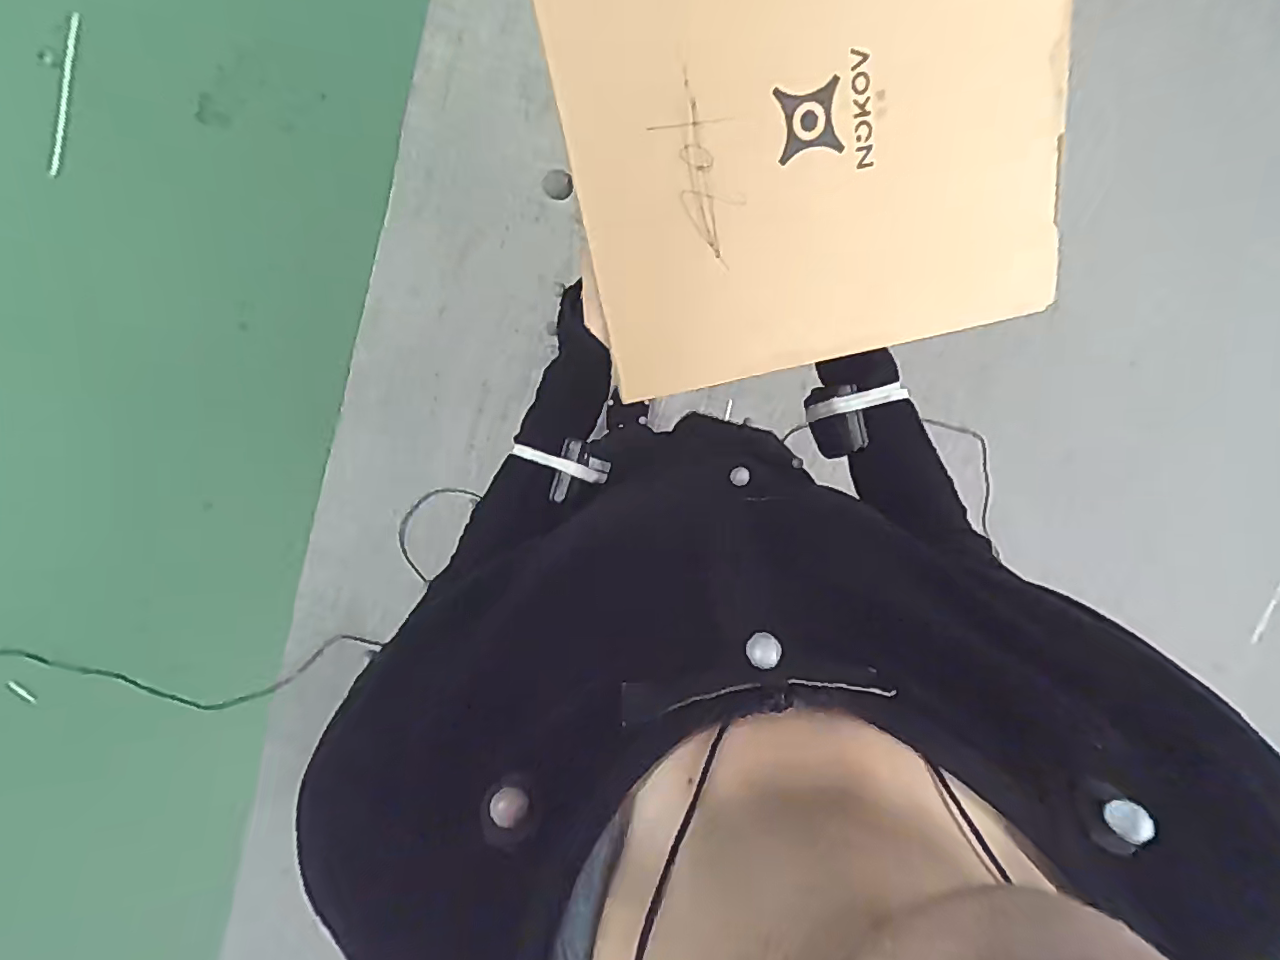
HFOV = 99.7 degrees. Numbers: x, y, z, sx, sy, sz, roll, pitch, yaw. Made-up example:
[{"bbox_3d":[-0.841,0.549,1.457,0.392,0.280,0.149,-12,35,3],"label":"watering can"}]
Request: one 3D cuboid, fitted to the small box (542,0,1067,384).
[{"bbox_3d":[0.057,-0.156,0.263,0.179,0.176,0.168,-11,110,1],"label":"small box"}]
